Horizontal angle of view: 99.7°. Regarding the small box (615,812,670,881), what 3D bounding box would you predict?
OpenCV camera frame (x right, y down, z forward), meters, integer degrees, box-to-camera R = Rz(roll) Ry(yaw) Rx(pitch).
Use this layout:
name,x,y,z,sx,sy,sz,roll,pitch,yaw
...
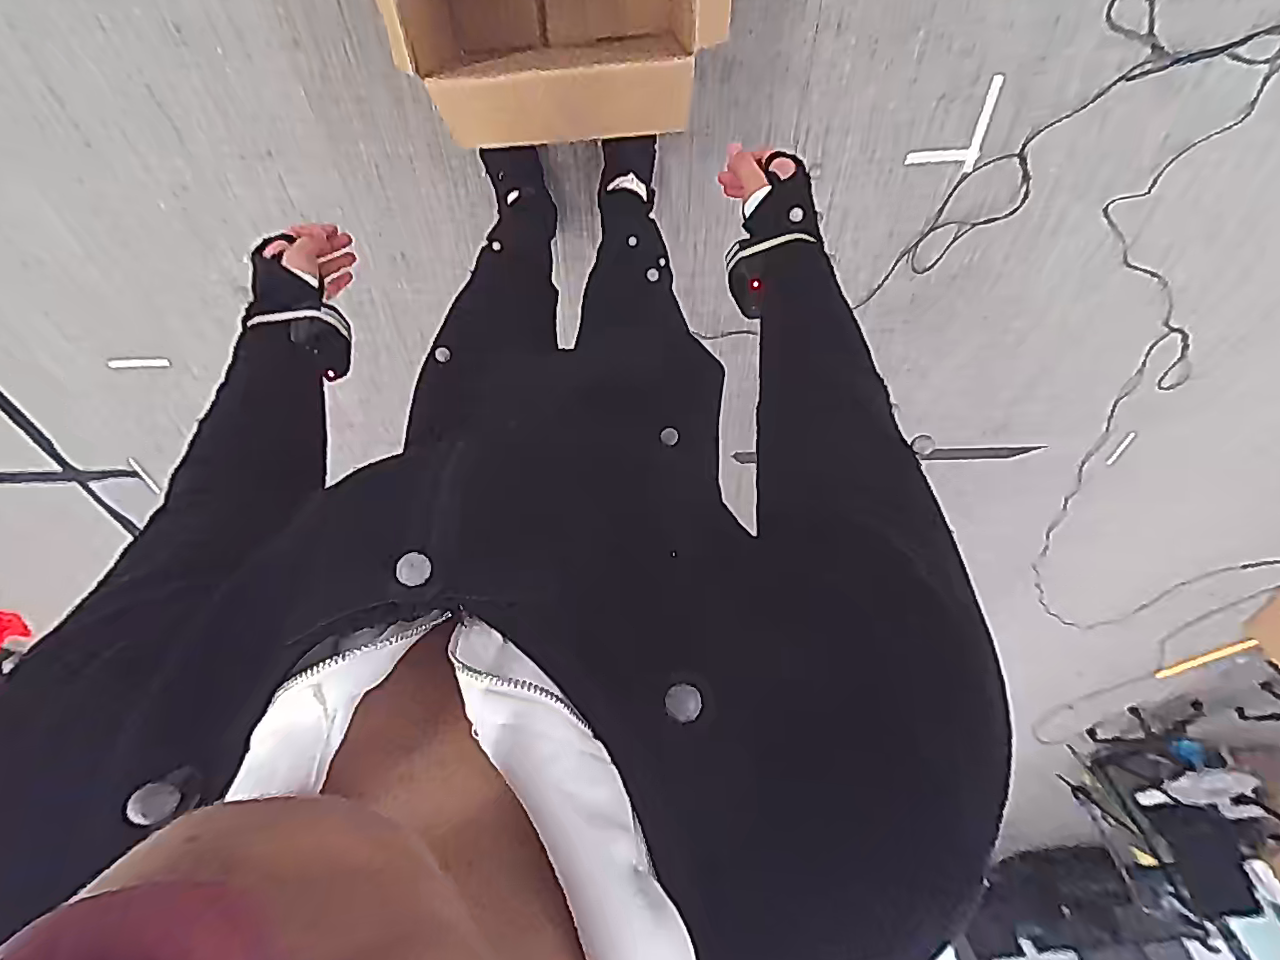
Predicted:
name,x,y,z,sx,sy,sz,roll,pitch,yaw
small box,0.005,1.279,1.891,0.179,0.176,0.168,-2,135,-4
